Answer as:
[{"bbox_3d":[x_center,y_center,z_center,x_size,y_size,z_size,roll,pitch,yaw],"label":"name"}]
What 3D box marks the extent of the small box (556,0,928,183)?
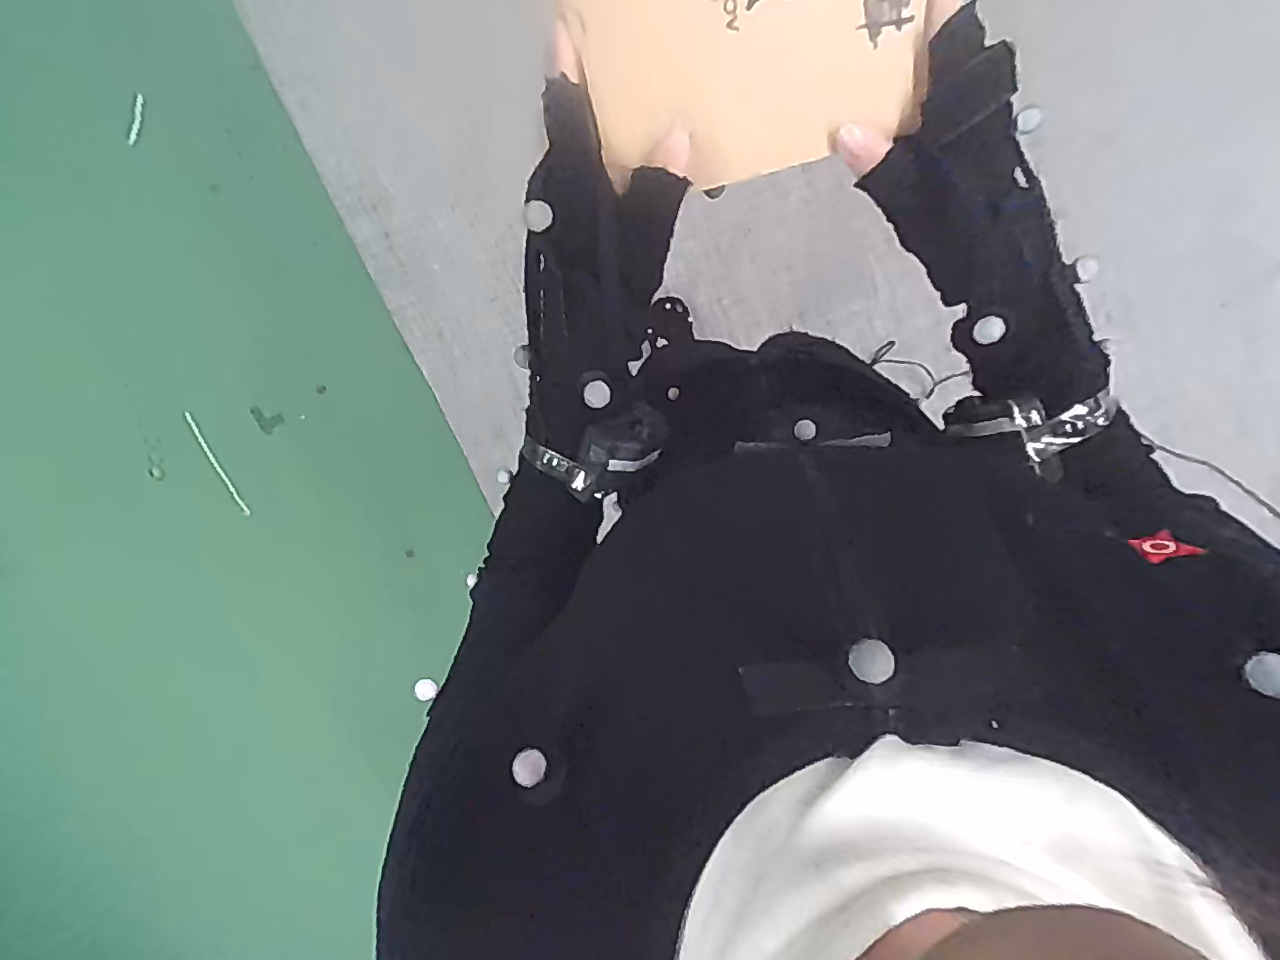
[{"bbox_3d":[0.040,-0.286,0.318,0.179,0.176,0.168,-16,119,3],"label":"small box"}]
